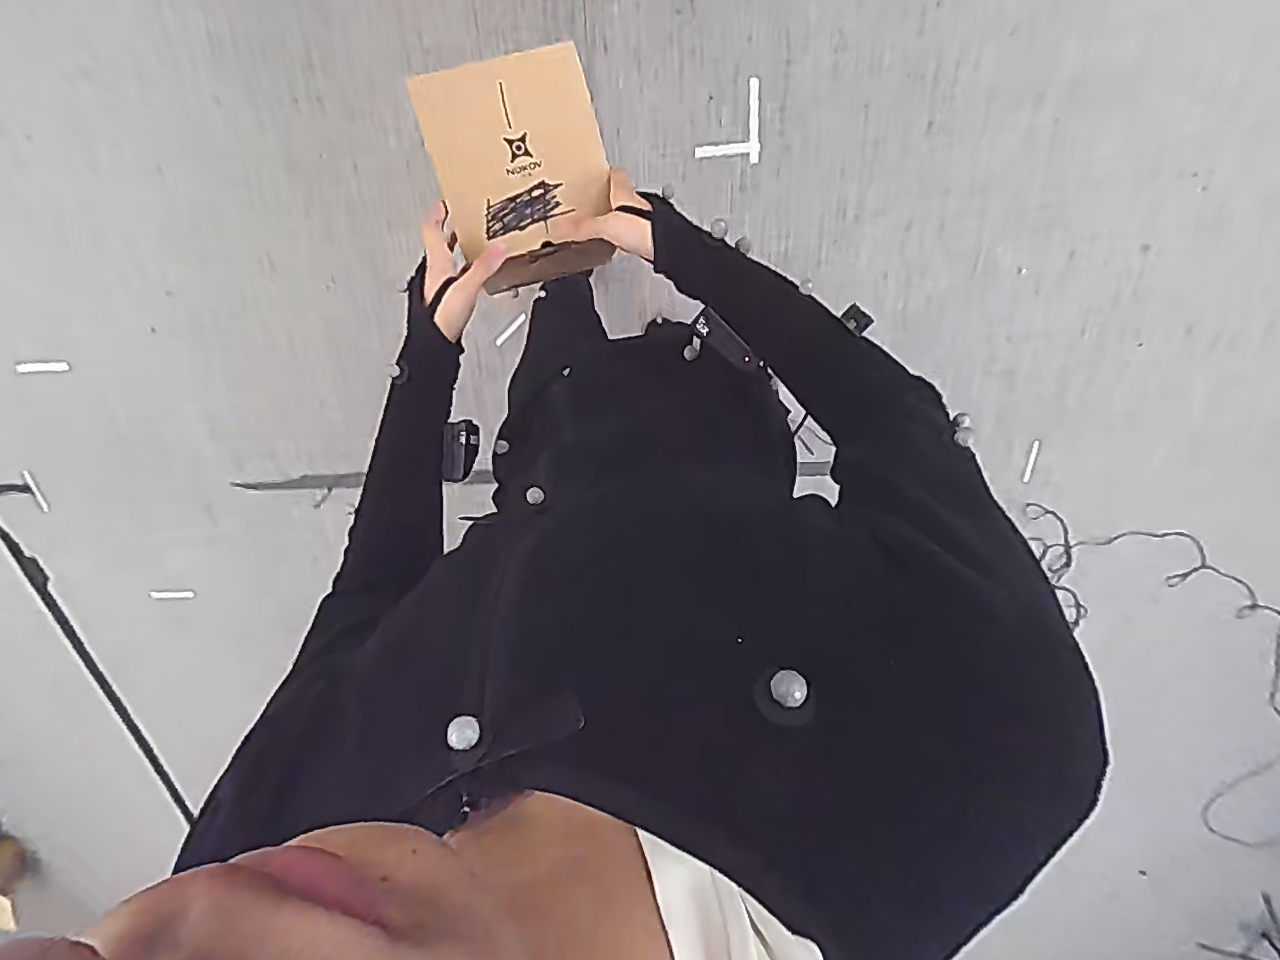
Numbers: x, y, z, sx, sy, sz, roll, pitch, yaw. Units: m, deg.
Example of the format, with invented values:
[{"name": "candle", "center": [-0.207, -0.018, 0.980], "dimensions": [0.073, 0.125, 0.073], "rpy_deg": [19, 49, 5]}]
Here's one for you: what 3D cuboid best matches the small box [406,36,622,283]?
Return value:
[{"name": "small box", "center": [-0.126, -0.328, 0.595], "dimensions": [0.168, 0.176, 0.179], "rpy_deg": [-17, 102, -6]}]
